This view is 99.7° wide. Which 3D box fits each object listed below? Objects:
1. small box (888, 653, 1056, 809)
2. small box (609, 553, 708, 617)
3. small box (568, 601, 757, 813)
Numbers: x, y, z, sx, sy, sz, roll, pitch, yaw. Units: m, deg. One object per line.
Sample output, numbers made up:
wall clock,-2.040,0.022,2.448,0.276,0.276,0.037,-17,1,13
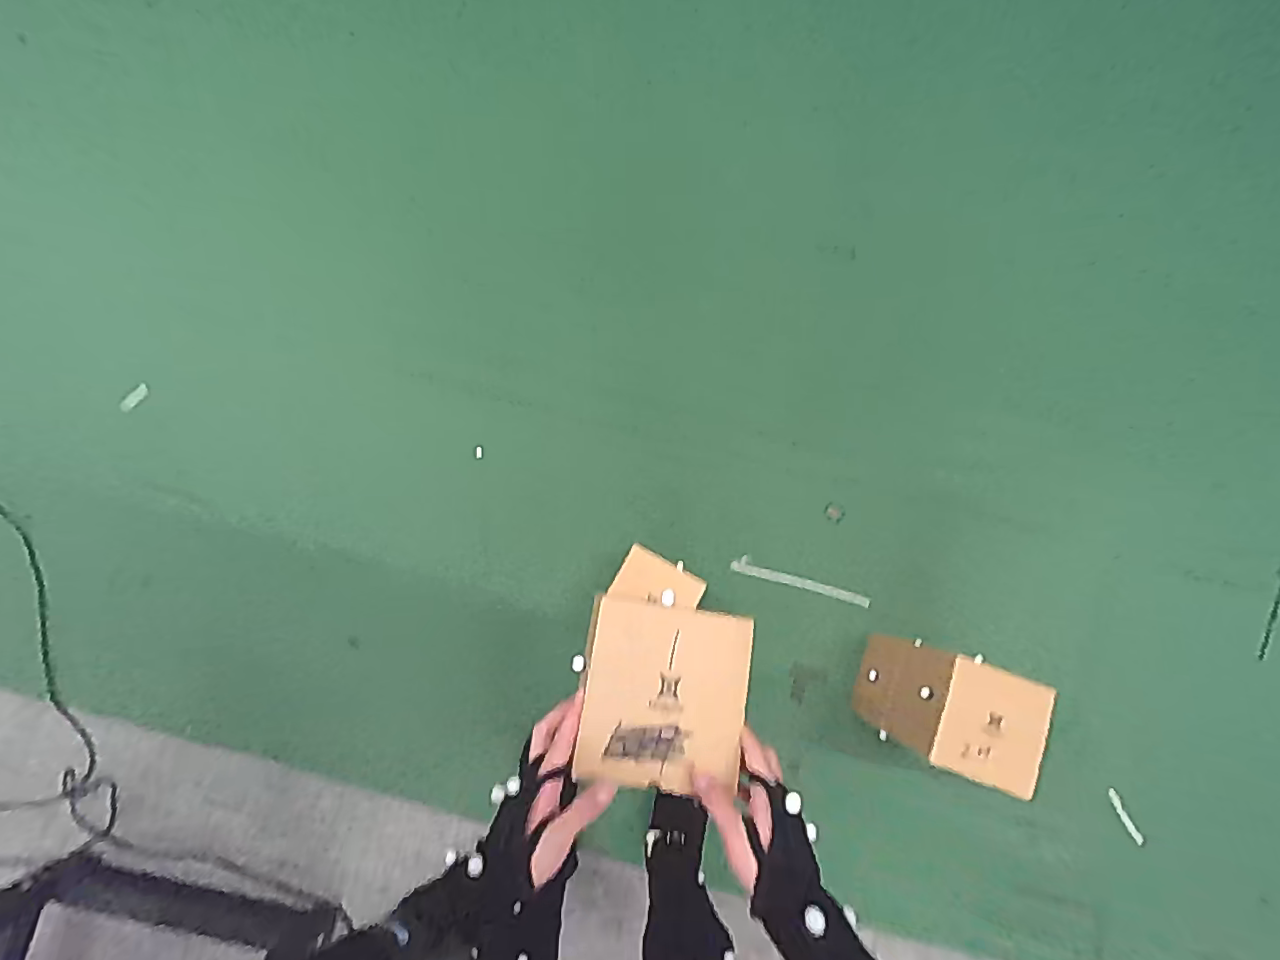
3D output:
small box,0.557,0.413,0.928,0.168,0.176,0.179,20,81,4
small box,0.021,0.268,1.125,0.168,0.176,0.179,29,82,5
small box,0.018,0.237,0.606,0.168,0.176,0.179,11,76,-5
